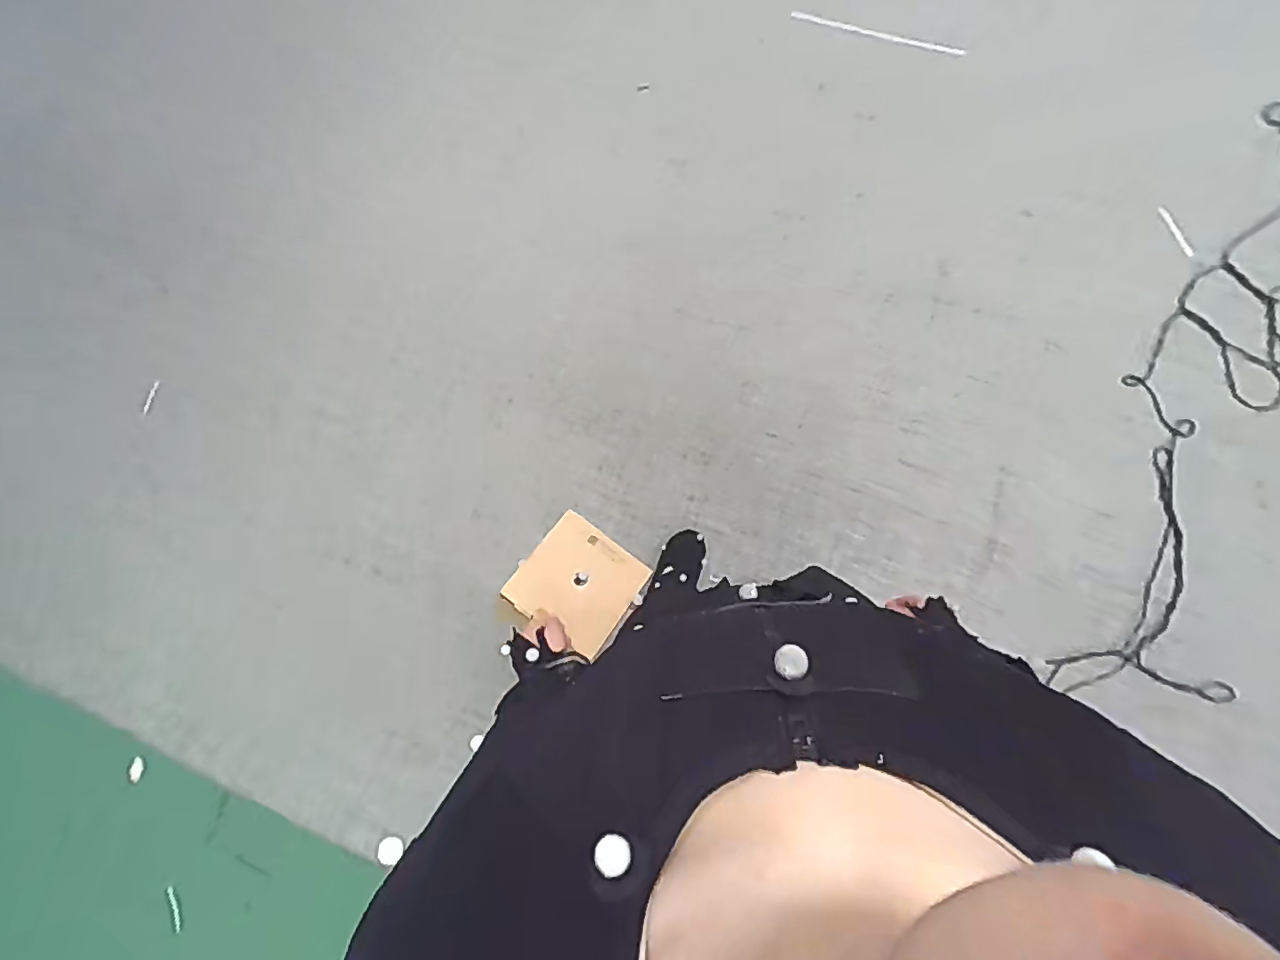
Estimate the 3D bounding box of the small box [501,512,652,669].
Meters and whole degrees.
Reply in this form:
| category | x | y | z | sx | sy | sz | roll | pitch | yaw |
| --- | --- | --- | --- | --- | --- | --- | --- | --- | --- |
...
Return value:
| category | x | y | z | sx | sy | sz | roll | pitch | yaw |
| --- | --- | --- | --- | --- | --- | --- | --- | --- | --- |
| small box | -0.102 | 0.178 | 0.870 | 0.168 | 0.179 | 0.176 | 39 | 62 | 3 |
